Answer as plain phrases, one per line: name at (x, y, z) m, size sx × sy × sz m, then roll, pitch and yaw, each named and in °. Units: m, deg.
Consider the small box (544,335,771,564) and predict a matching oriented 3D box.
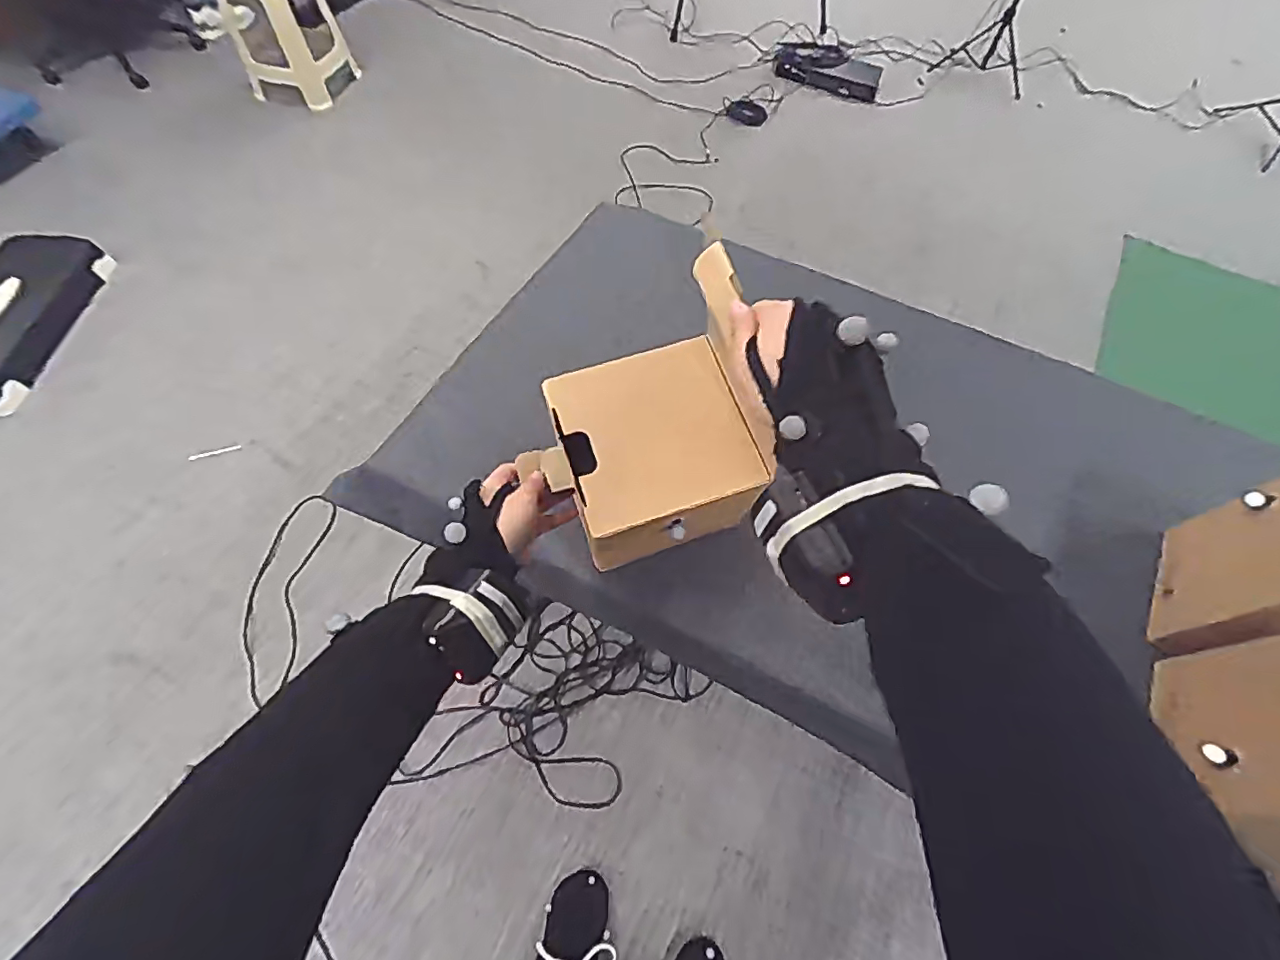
small box at (0.012, -0.022, 0.577) m, size 0.179 × 0.176 × 0.168 m, roll -18°, pitch 73°, yaw -6°
